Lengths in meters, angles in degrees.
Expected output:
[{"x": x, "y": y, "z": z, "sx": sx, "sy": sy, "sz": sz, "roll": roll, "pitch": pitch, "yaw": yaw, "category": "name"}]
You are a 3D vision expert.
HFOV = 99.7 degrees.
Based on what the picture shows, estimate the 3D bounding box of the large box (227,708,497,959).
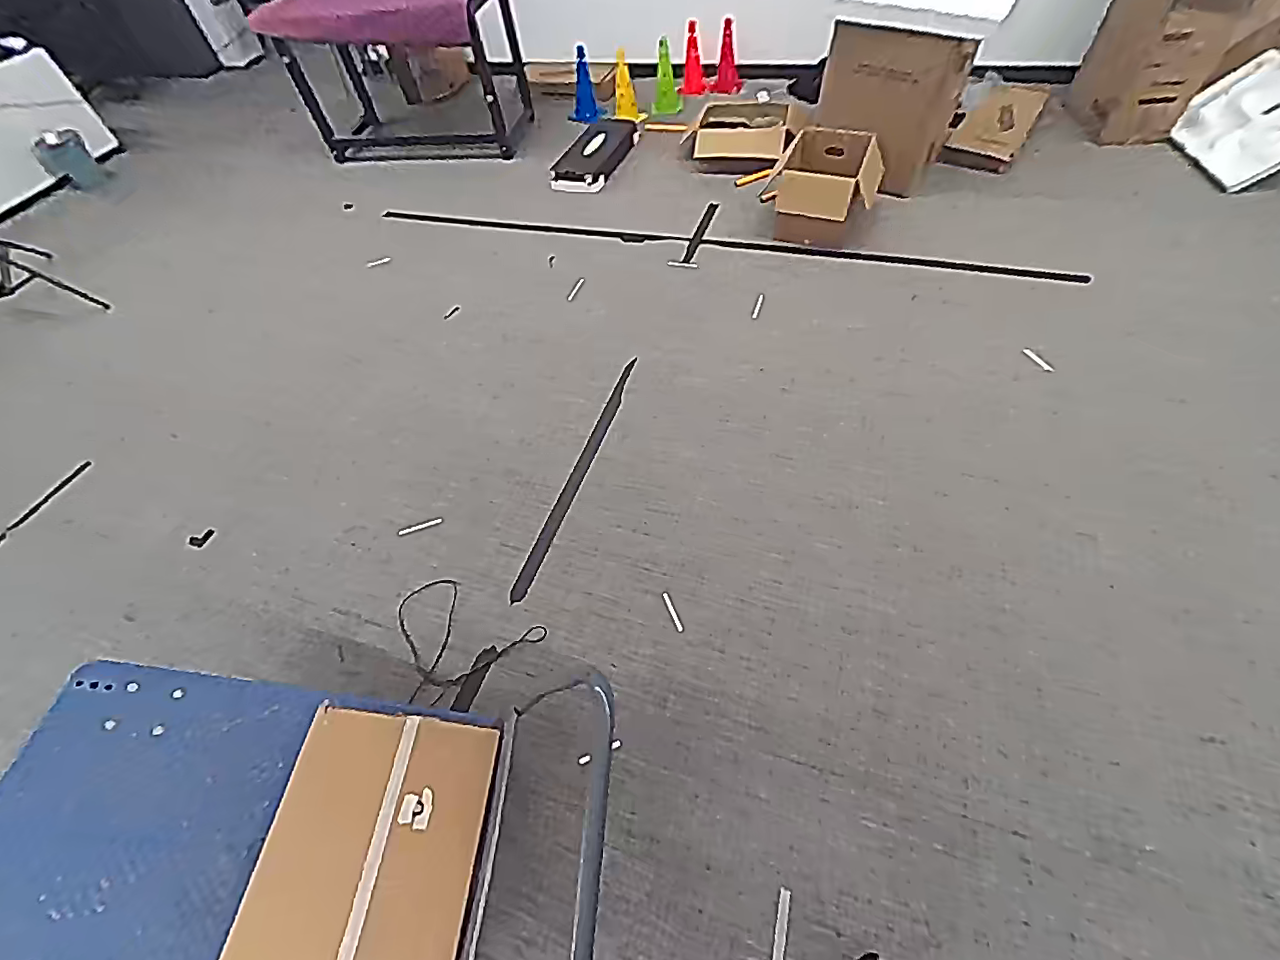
[{"x": -0.467, "y": 0.671, "z": 0.967, "sx": 0.320, "sy": 0.320, "sz": 0.408, "roll": 15, "pitch": 51, "yaw": -15, "category": "large box"}]
